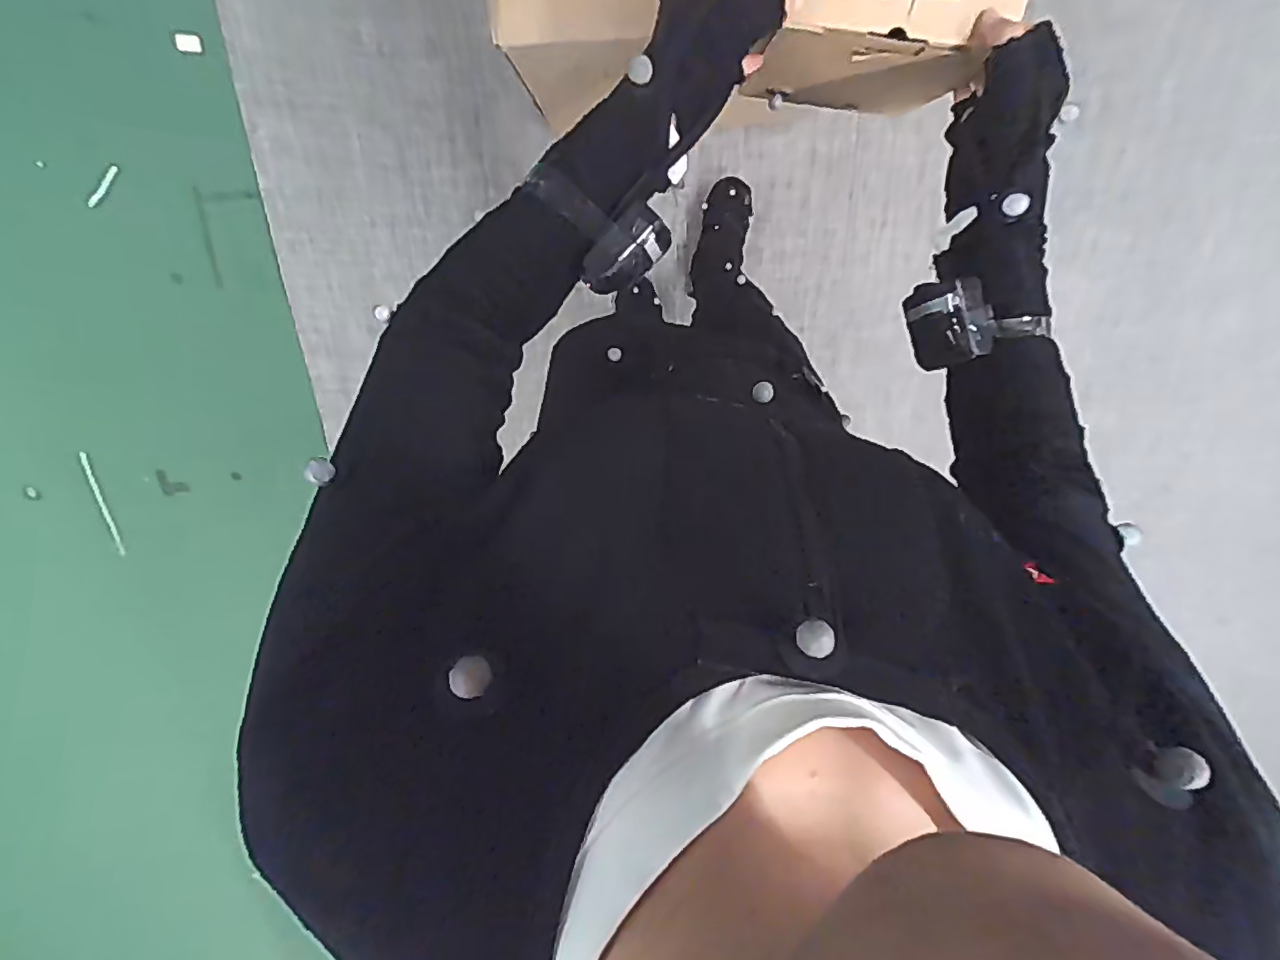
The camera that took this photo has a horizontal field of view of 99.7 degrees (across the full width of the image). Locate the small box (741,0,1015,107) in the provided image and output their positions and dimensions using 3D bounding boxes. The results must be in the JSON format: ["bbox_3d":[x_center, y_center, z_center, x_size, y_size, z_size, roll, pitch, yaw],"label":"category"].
[{"bbox_3d":[0.181,-0.416,0.417,0.168,0.176,0.179,6,111,-3],"label":"small box"}]
